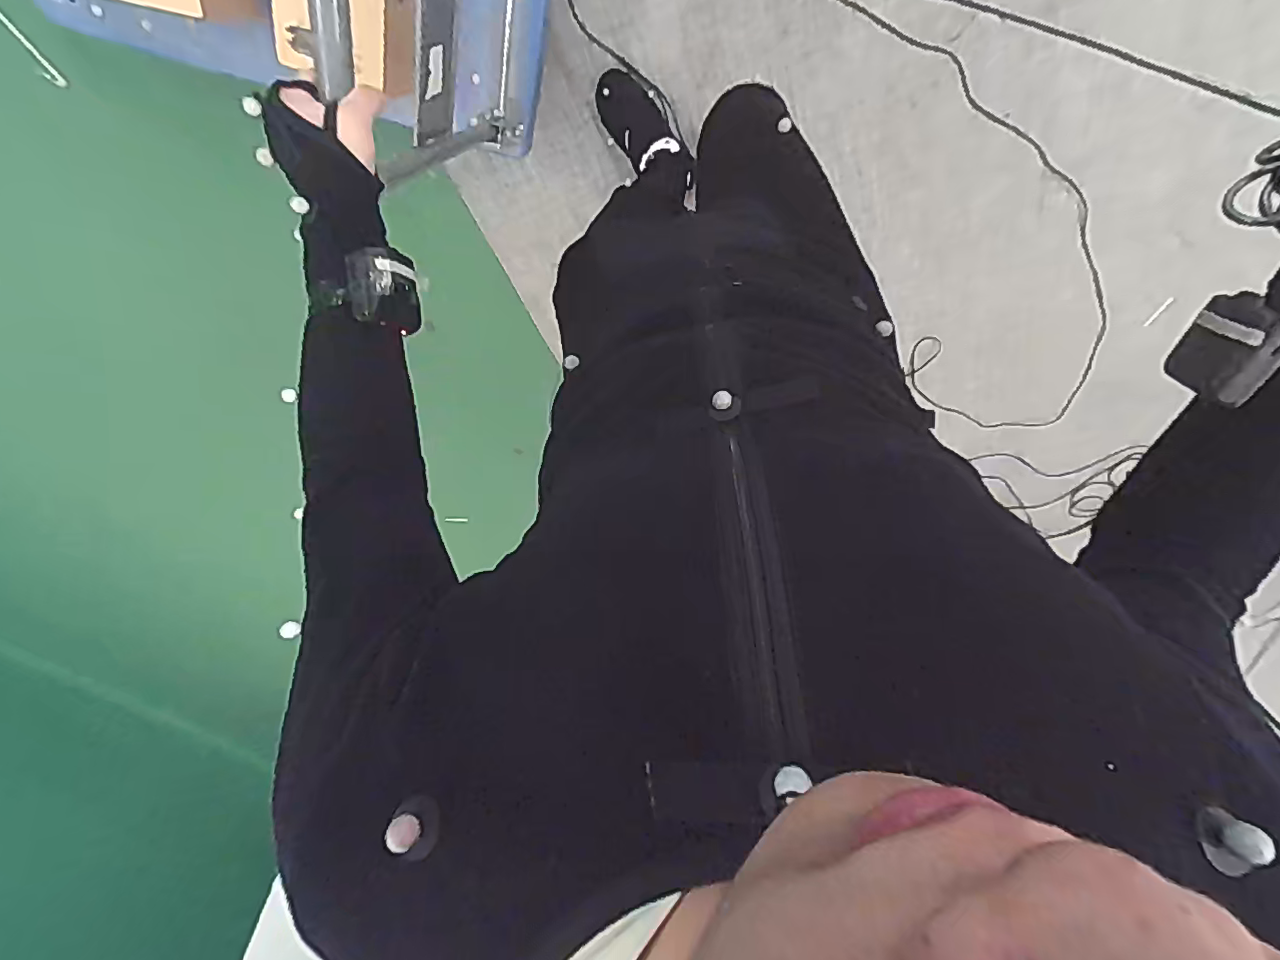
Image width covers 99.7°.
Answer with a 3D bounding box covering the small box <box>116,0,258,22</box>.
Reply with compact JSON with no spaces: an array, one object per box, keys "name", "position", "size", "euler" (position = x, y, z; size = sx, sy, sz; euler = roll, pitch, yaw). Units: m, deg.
[{"name":"small box","position":[-0.726,-0.828,0.828],"size":[0.179,0.176,0.168],"euler":[10,130,-5]}]
